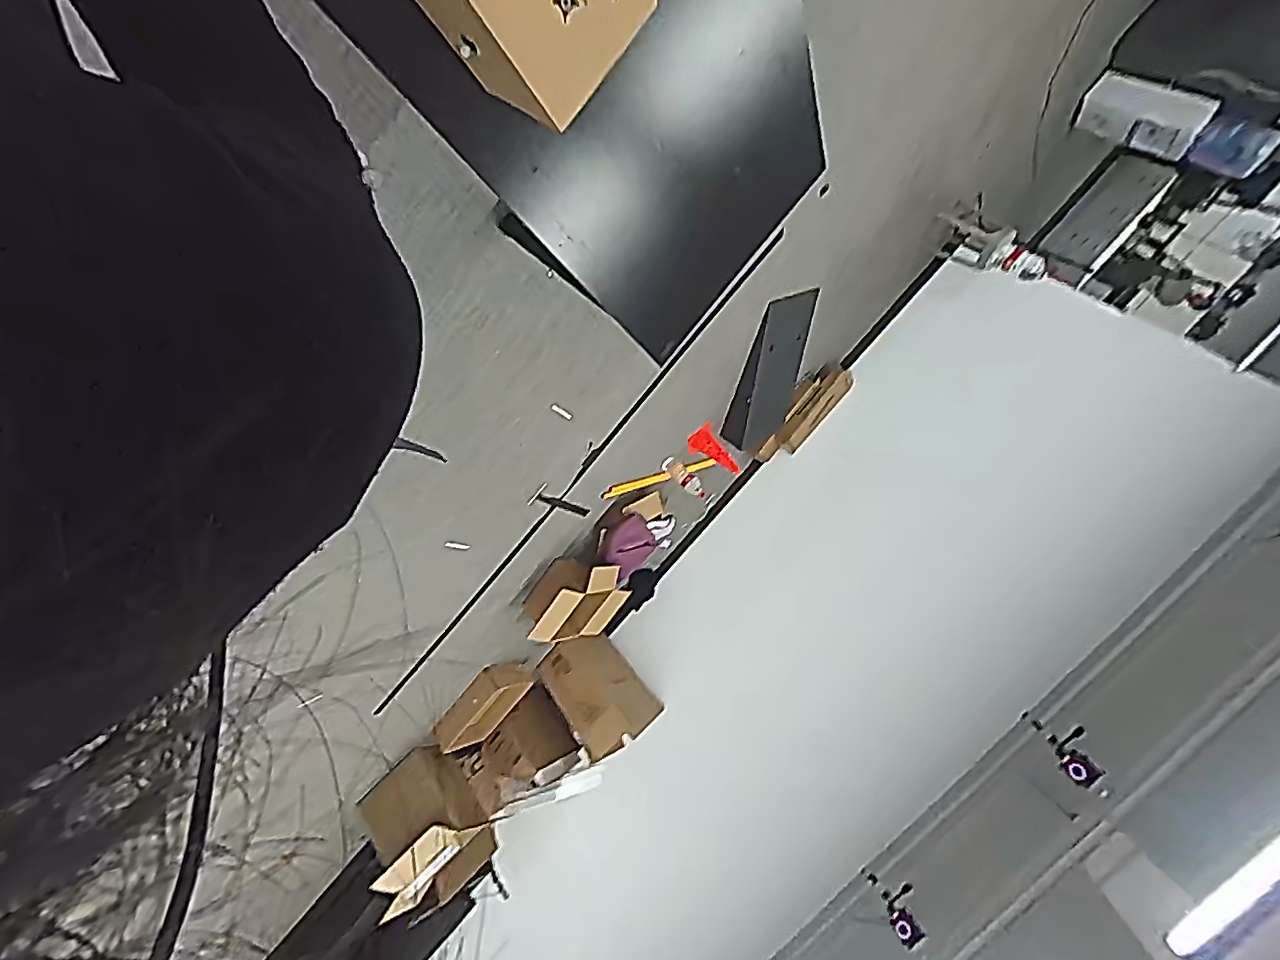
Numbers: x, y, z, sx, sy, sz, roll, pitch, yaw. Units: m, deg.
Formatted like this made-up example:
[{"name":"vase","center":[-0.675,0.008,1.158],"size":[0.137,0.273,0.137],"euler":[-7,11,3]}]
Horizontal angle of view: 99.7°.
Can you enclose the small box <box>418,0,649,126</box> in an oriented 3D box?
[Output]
[{"name":"small box","center":[-0.129,-0.533,0.573],"size":[0.179,0.176,0.168],"euler":[-51,154,7]}]
